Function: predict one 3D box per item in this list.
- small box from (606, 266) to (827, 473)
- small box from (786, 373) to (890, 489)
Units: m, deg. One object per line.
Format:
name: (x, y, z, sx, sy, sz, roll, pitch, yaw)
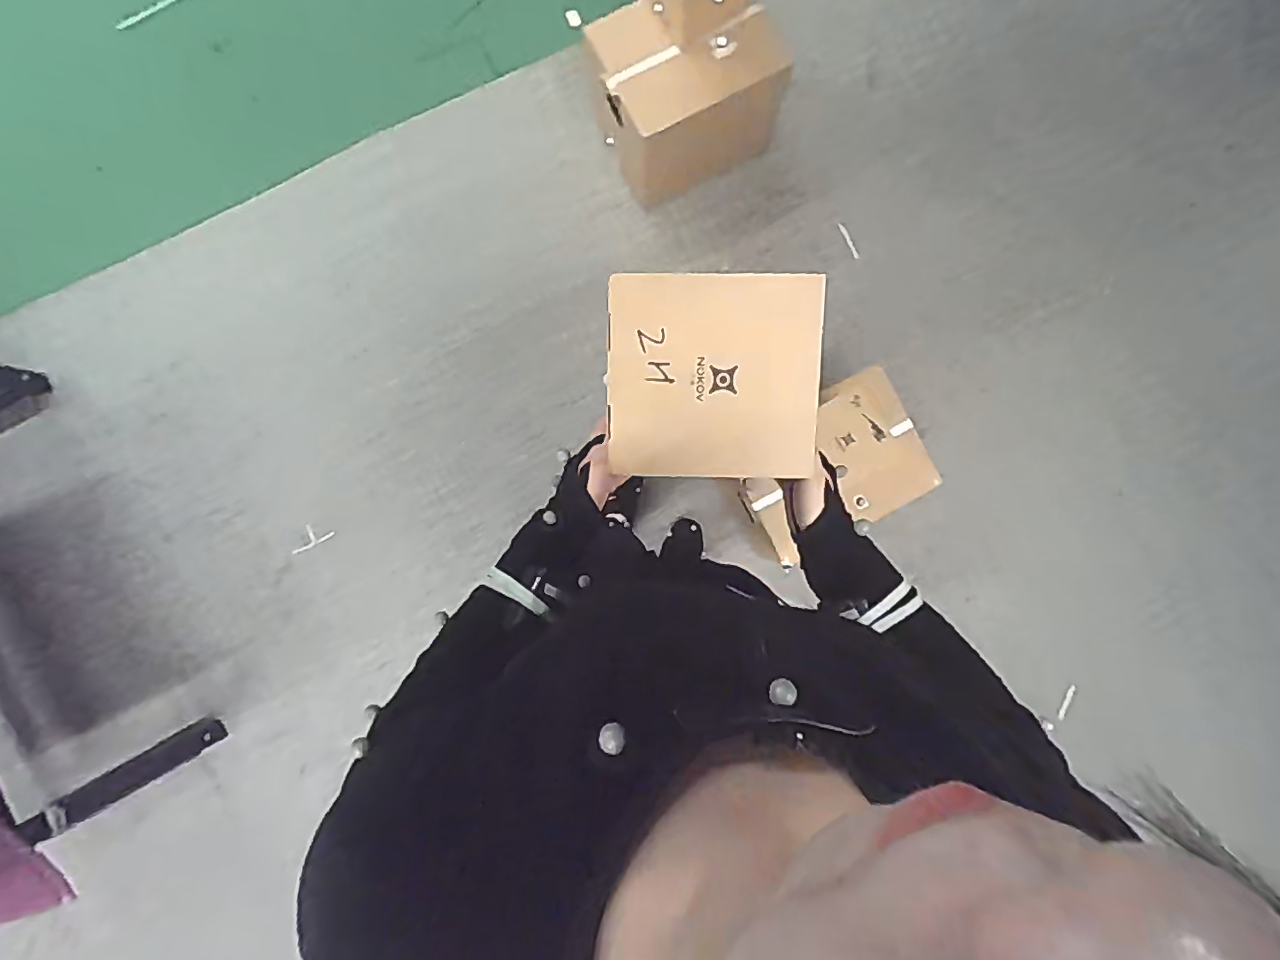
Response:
small box: (0.062, -0.103, 0.521, 0.179, 0.176, 0.168, 1, 100, 2)
small box: (0.372, -0.092, 1.125, 0.179, 0.176, 0.168, -33, 86, 0)
